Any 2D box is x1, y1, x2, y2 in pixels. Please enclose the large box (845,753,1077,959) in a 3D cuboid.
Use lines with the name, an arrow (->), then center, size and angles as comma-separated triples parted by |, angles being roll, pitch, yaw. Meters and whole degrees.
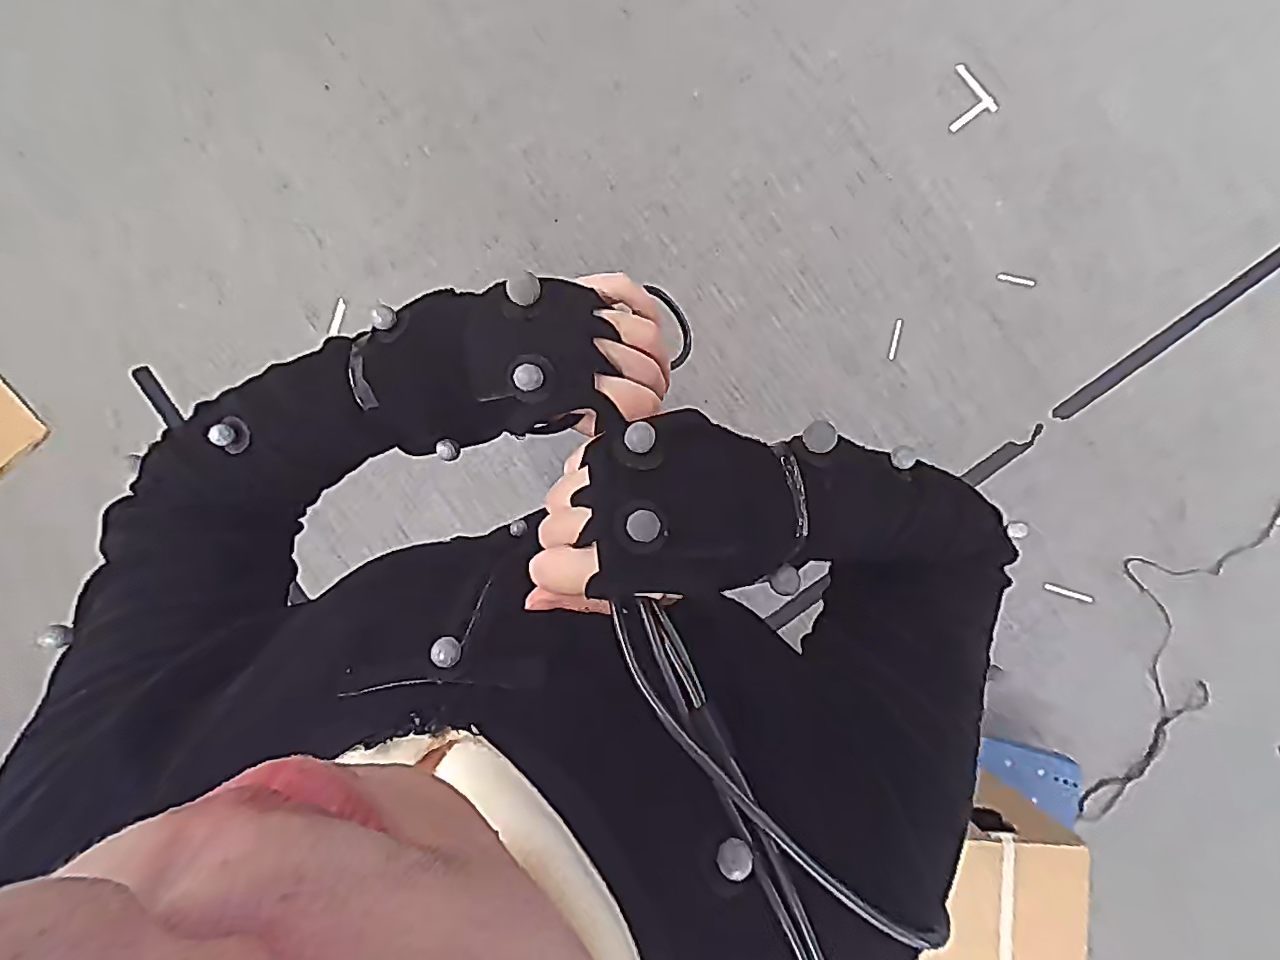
large box -> 0.654, 0.855, 1.153 | 0.320, 0.320, 0.408 | 4, 89, 0
